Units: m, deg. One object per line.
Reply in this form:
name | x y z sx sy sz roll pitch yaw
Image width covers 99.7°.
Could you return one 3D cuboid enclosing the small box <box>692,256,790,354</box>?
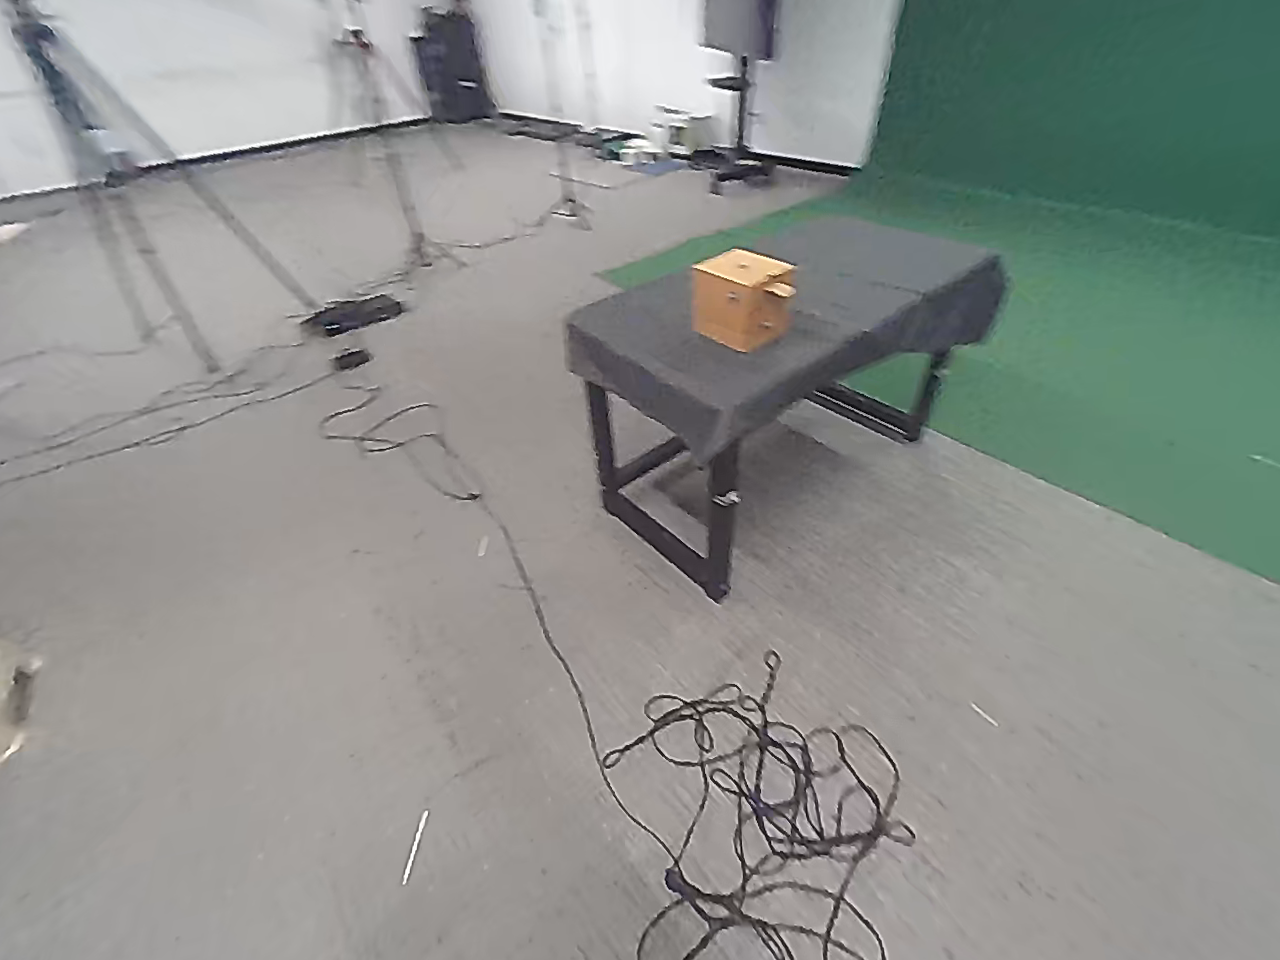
small box | 0.243 -0.433 1.339 0.168 0.176 0.179 -32 48 -28
